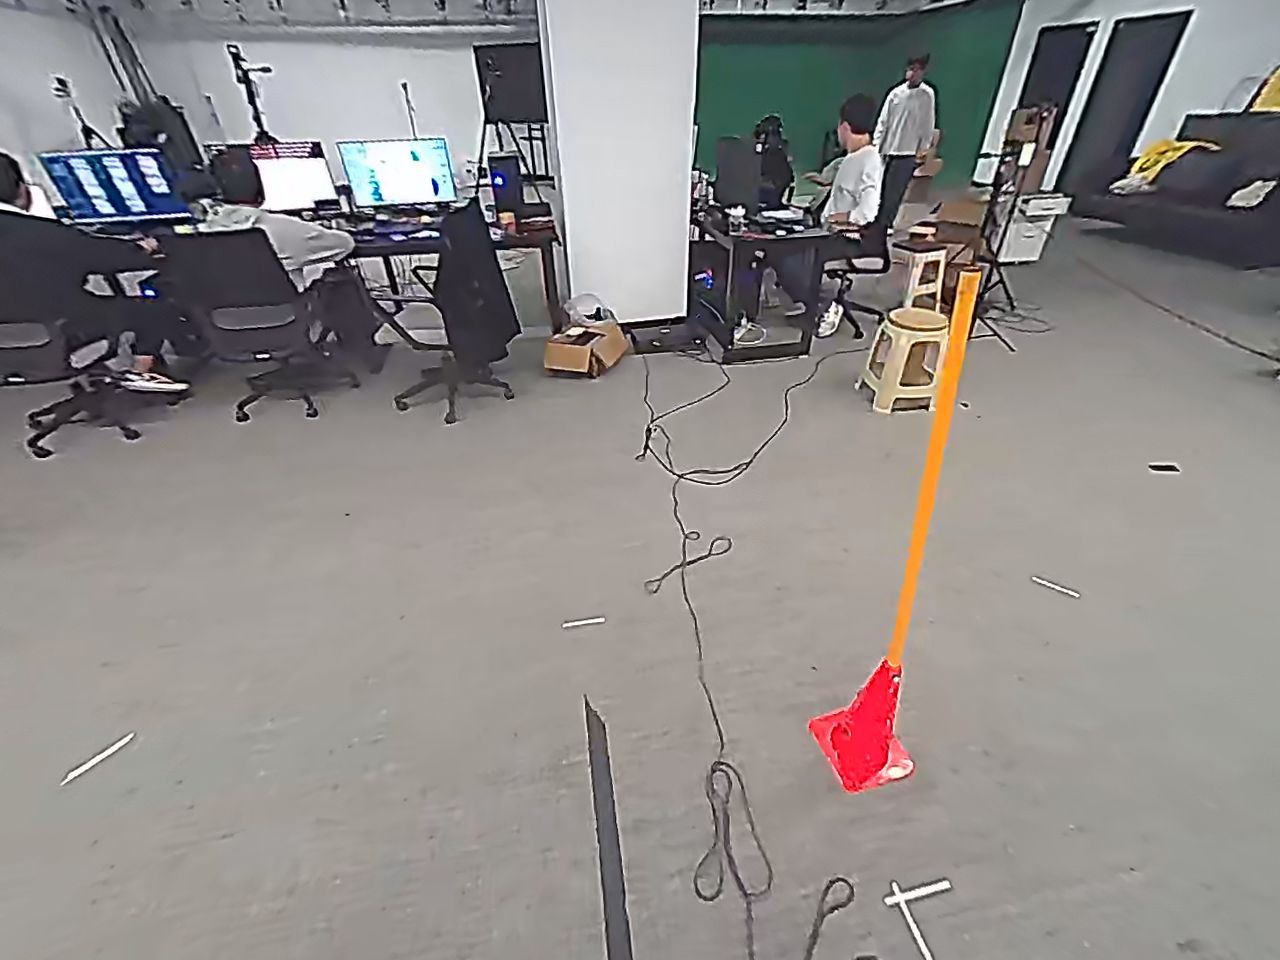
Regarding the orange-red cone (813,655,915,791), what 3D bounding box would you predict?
[{"bbox_3d":[0.568,0.551,1.303,0.199,0.360,0.198,-11,36,-11],"label":"orange-red cone"}]
